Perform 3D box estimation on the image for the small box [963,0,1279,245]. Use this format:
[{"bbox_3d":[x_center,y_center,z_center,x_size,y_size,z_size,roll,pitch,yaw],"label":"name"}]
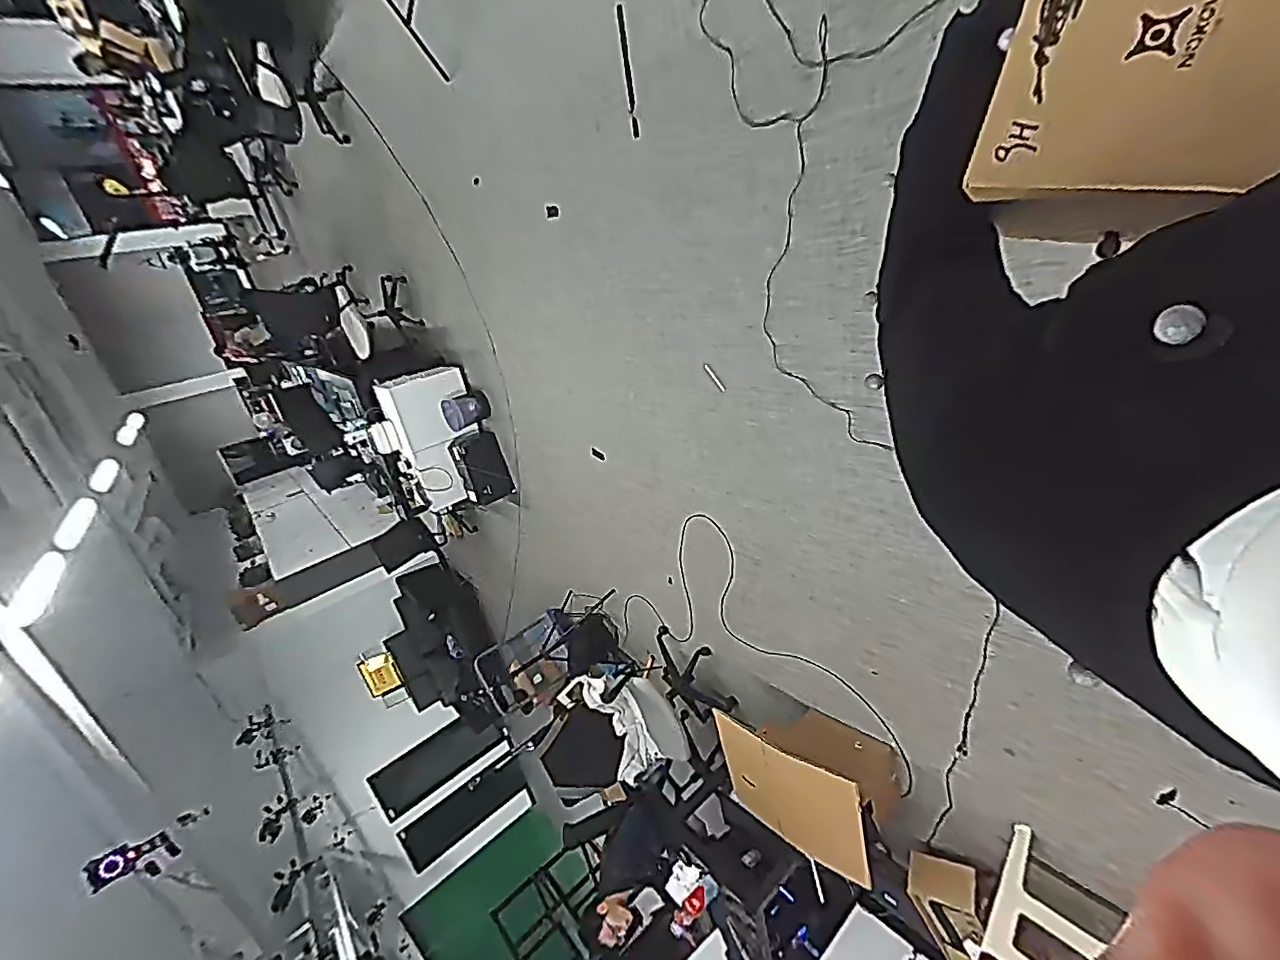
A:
[{"bbox_3d":[0.365,-0.271,0.376,0.179,0.176,0.168,26,113,37],"label":"small box"}]
